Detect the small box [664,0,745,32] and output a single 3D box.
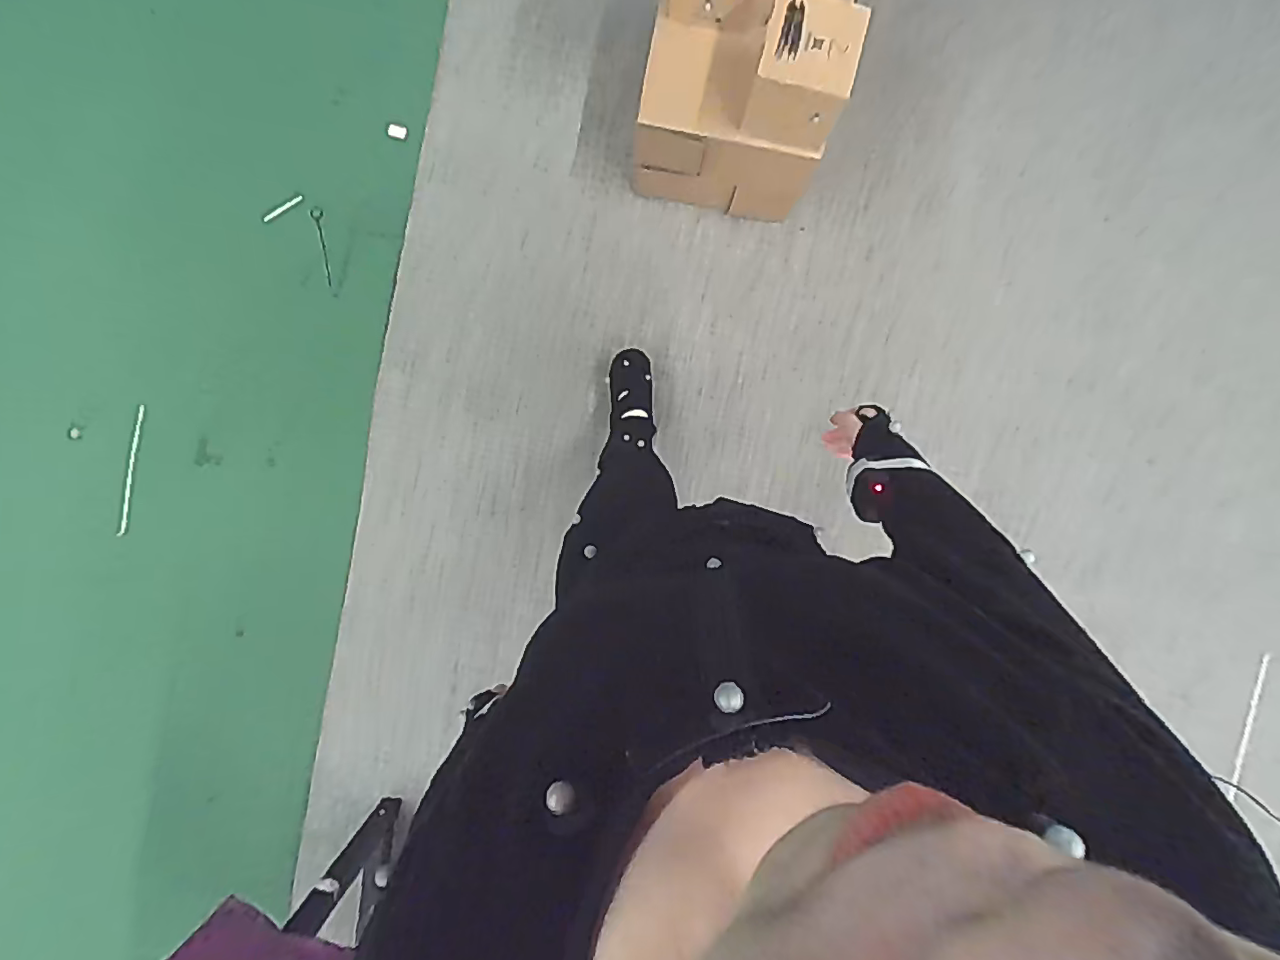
[{"bbox_3d":[0.141,-1.038,1.052,0.168,0.176,0.179,11,89,2],"label":"small box"}]
